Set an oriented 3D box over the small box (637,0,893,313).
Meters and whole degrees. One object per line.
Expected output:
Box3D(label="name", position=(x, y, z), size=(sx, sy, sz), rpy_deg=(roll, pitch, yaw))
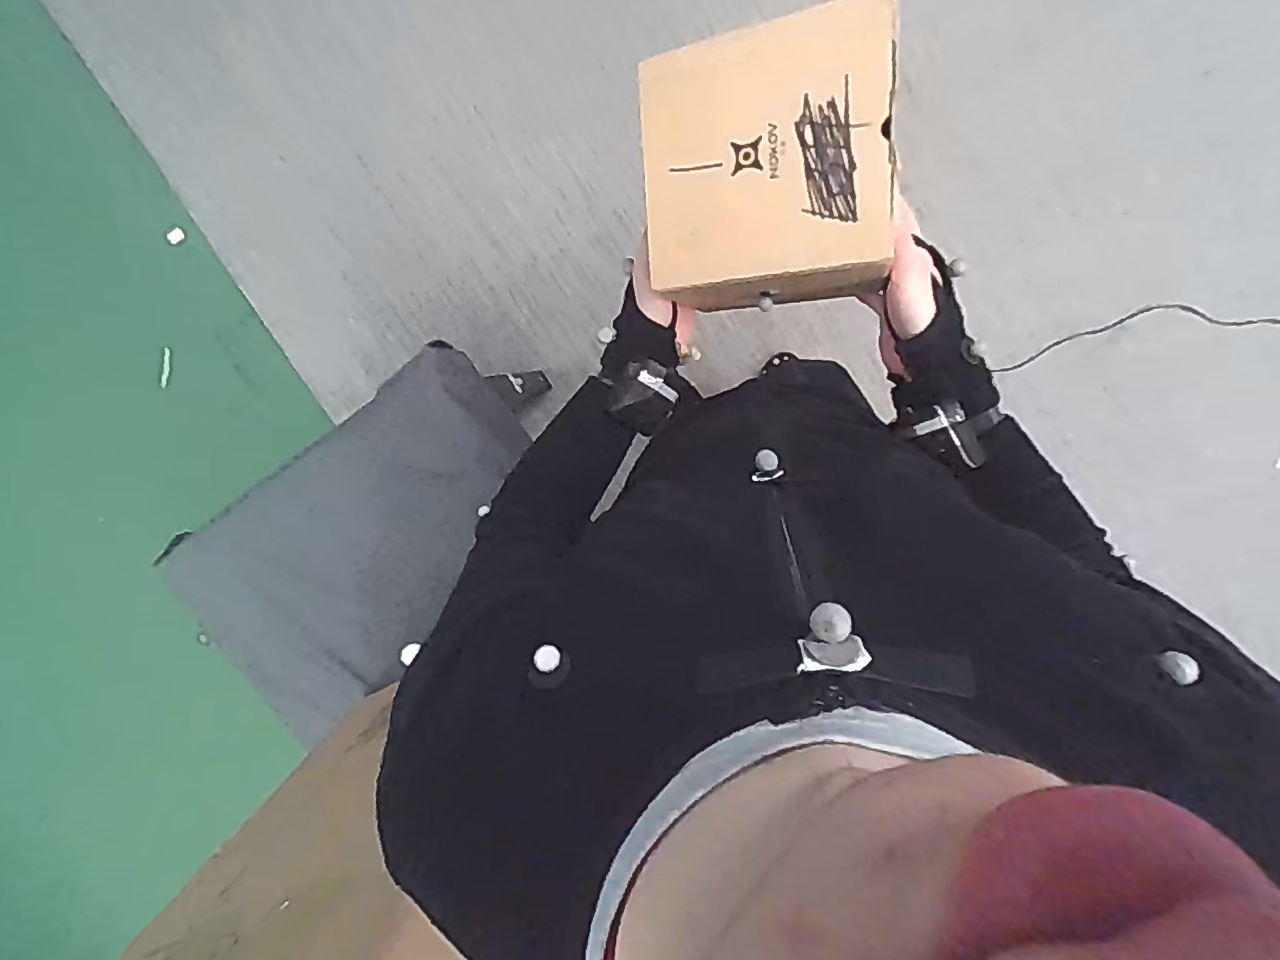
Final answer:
Box3D(label="small box", position=(0.112, -0.242, 0.457), size=(0.179, 0.176, 0.168), rpy_deg=(0, 100, 23))
